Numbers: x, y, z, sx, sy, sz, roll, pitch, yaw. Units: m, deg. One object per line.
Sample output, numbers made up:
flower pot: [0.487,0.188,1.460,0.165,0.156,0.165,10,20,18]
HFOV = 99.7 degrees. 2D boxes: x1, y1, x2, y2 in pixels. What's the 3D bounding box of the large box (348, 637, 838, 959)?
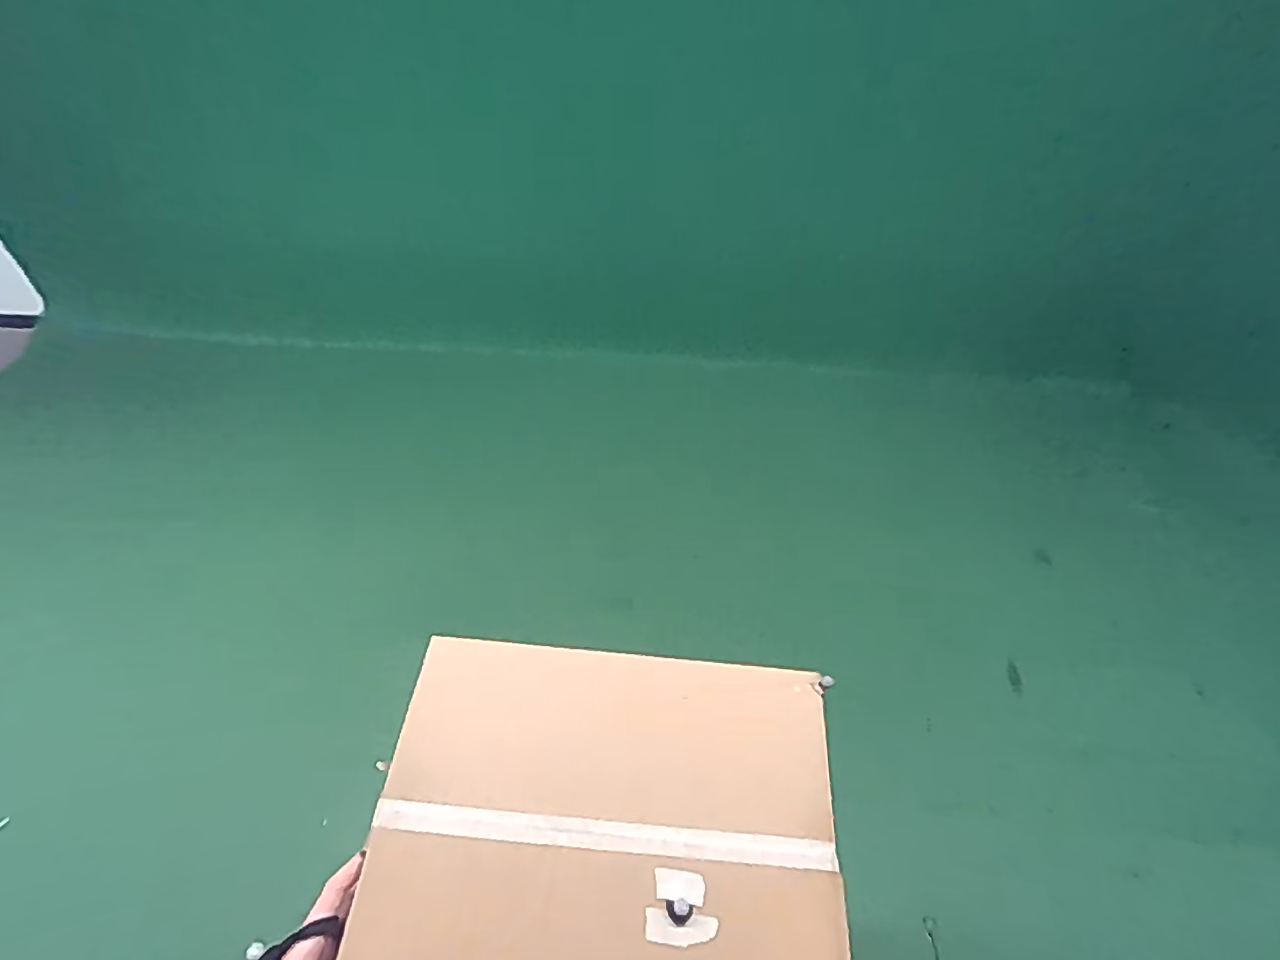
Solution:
large box: [-0.036,0.390,0.612,0.408,0.320,0.320,5,58,1]
